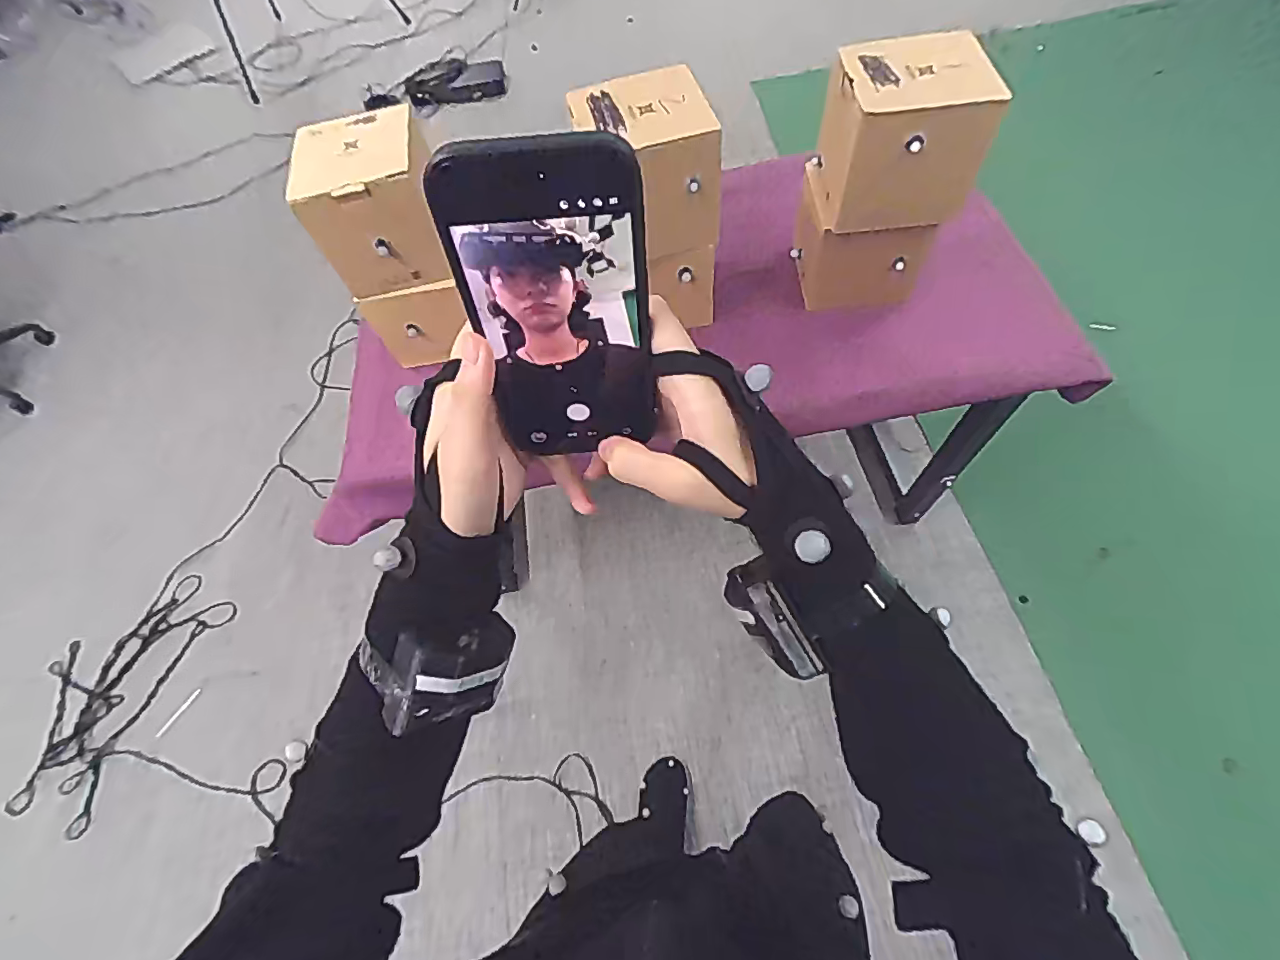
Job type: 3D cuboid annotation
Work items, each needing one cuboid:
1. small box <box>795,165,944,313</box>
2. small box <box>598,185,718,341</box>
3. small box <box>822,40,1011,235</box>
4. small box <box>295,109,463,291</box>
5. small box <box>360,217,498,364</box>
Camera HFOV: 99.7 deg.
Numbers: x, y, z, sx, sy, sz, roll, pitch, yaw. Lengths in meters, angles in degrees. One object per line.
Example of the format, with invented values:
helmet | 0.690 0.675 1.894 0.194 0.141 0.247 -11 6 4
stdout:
small box | 0.369 -0.402 0.904 0.179 0.176 0.168 -3 61 5
small box | 0.031 -0.363 0.922 0.179 0.176 0.168 -9 61 2
small box | 0.362 -0.466 0.753 0.179 0.176 0.168 -3 61 4
small box | -0.375 -0.405 0.808 0.168 0.176 0.179 -12 62 -1
small box | -0.357 -0.321 0.948 0.168 0.176 0.179 -8 61 3
